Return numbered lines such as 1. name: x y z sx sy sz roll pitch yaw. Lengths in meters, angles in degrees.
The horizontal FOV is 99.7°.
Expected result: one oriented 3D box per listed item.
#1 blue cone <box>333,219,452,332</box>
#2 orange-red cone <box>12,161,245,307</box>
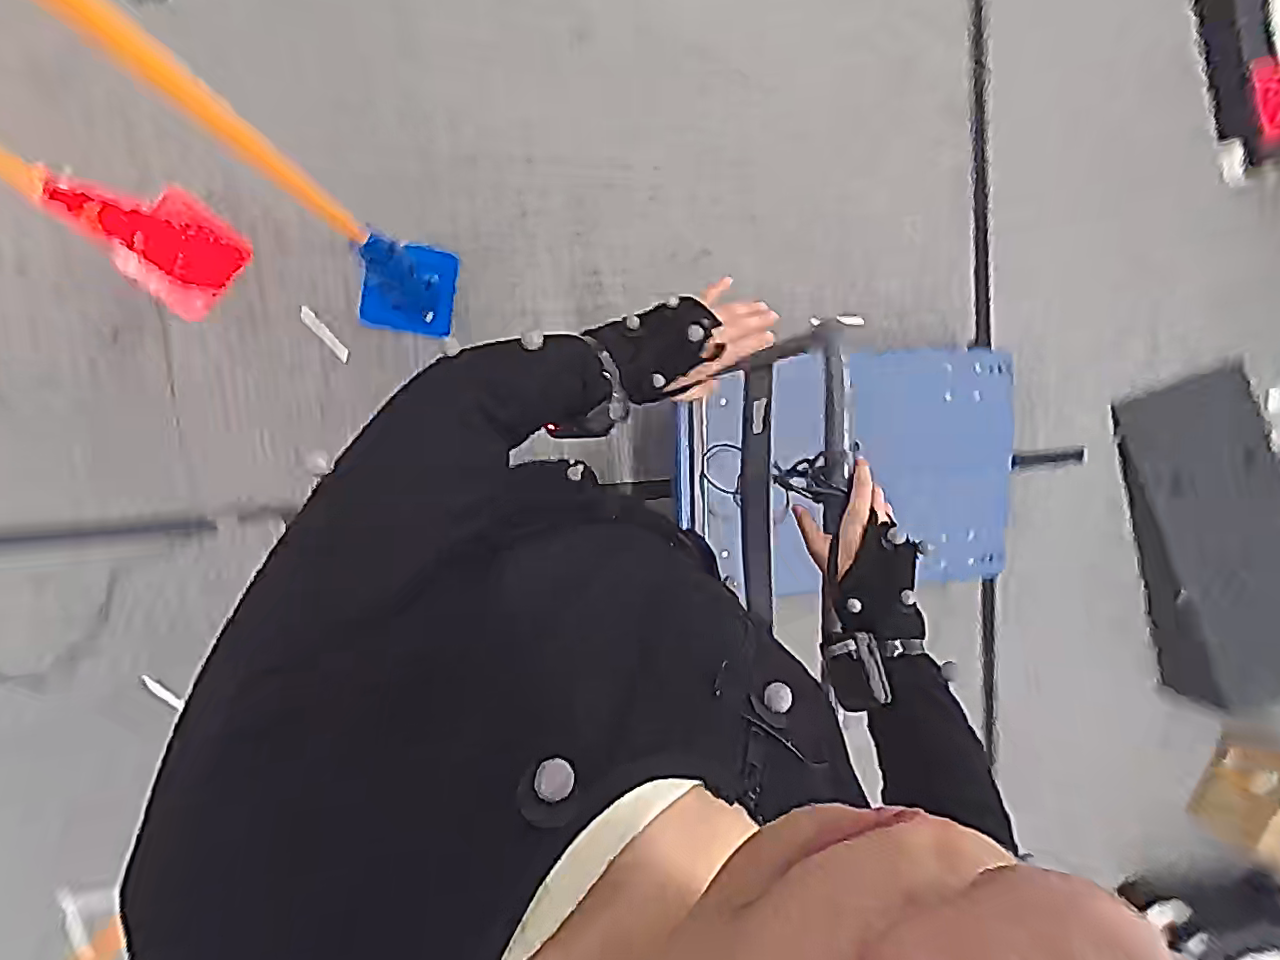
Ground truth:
1. blue cone: -0.505 -0.426 1.067 0.192 0.380 0.193 11 93 -11
2. orange-red cone: -0.935 -0.472 0.967 0.199 0.360 0.198 42 88 -13
